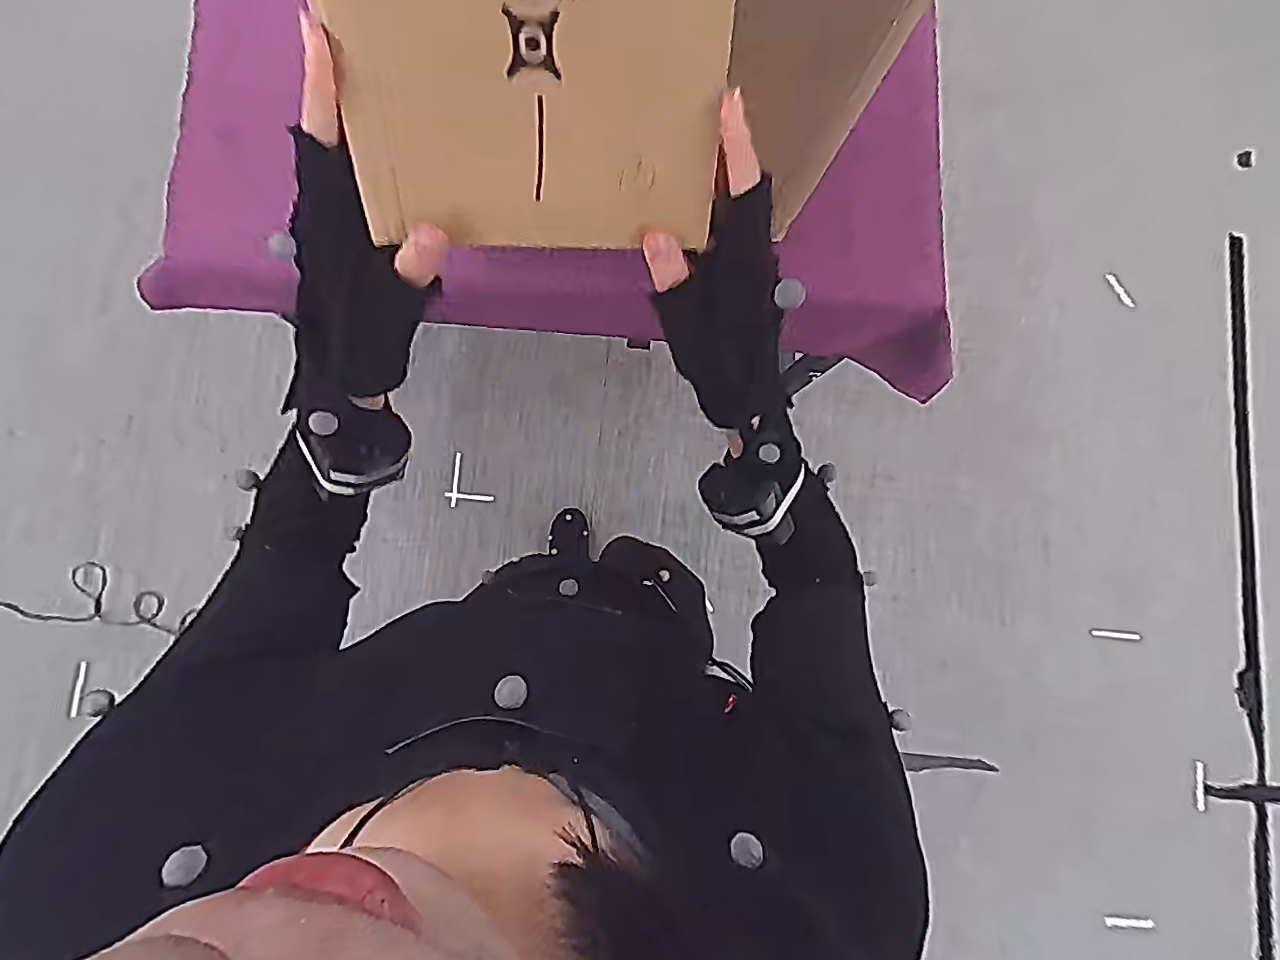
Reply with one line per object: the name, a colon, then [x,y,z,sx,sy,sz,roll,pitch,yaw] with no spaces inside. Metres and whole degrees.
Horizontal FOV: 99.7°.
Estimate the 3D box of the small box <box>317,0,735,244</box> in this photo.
small box: [-0.053,-0.233,0.278,0.168,0.176,0.179,-2,126,-8]
